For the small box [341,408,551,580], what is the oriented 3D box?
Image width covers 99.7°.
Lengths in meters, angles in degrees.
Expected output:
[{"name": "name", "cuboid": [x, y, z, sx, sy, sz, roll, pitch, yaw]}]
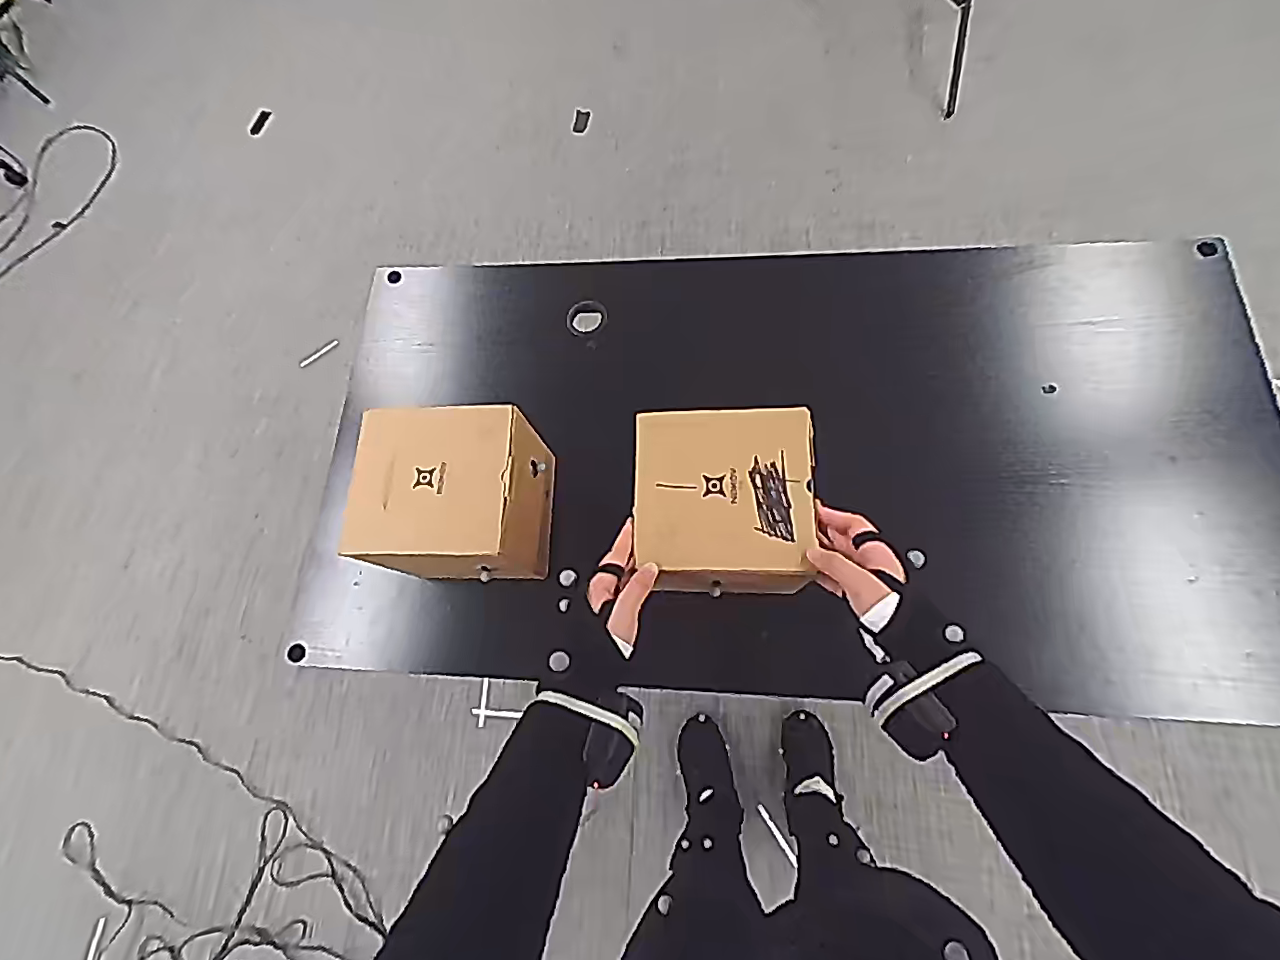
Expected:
[{"name": "small box", "cuboid": [-0.212, 0.025, 0.645, 0.179, 0.176, 0.168, -2, 71, 7]}]

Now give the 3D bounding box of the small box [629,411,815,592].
[{"name": "small box", "cuboid": [0.088, 0.032, 0.604, 0.179, 0.176, 0.168, -1, 72, 8]}]
